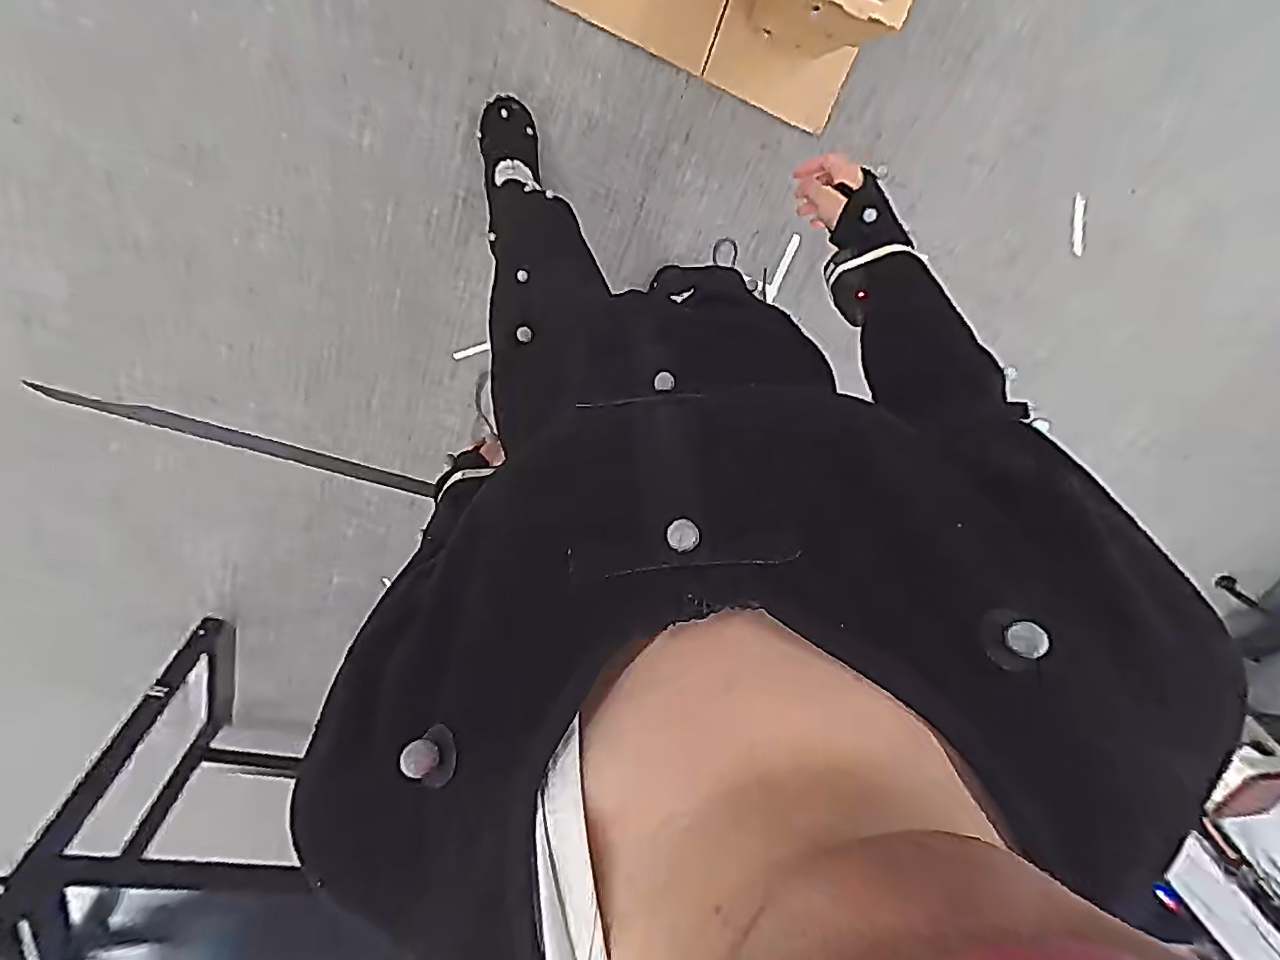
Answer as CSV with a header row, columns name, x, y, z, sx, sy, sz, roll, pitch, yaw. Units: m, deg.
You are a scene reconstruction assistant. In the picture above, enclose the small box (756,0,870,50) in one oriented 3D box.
name,x,y,z,sx,sy,sz,roll,pitch,yaw
small box,0.333,-0.937,1.002,0.168,0.176,0.179,11,118,-15
